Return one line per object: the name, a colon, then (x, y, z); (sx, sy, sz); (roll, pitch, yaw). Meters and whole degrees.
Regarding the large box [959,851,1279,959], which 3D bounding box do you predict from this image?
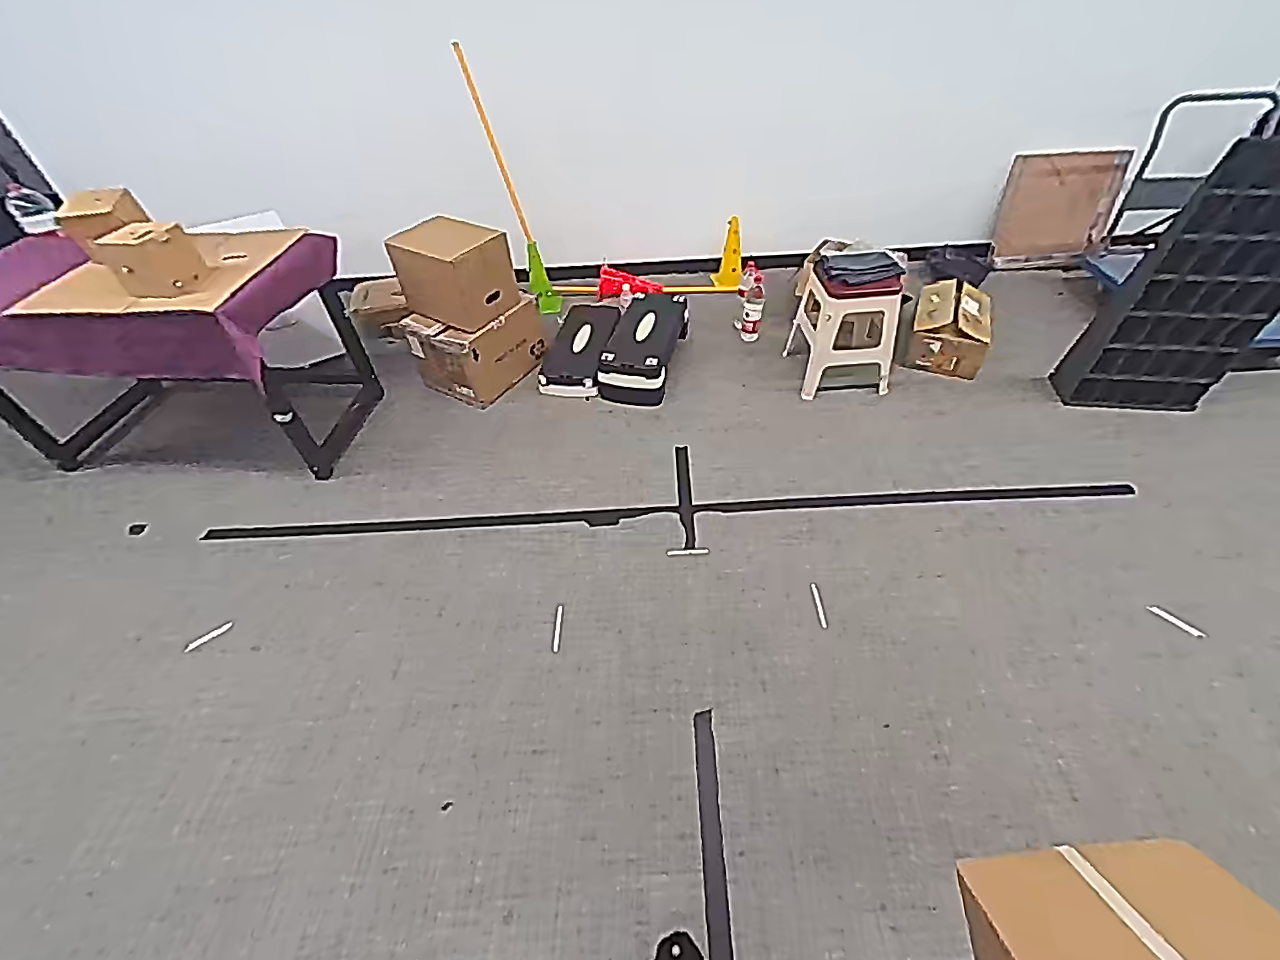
large box: (0.622, 0.698, 0.591); (0.320, 0.408, 0.320); (-10, 88, 7)
